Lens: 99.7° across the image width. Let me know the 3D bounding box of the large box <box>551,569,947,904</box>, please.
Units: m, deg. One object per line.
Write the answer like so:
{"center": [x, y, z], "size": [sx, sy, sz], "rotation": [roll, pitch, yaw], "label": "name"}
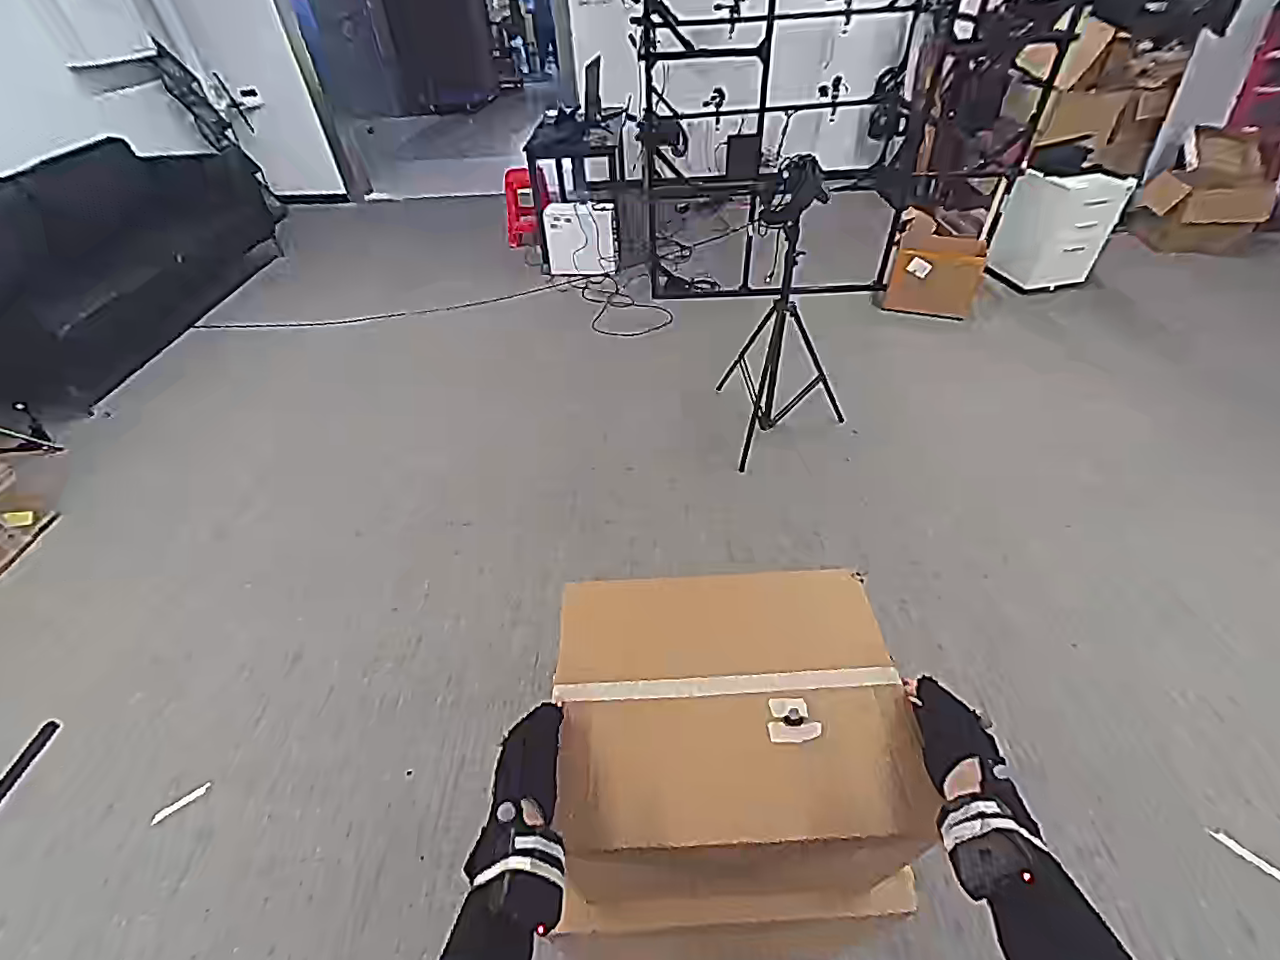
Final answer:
{"center": [0.104, 0.348, 0.739], "size": [0.408, 0.320, 0.320], "rotation": [-3, 45, -1], "label": "large box"}
